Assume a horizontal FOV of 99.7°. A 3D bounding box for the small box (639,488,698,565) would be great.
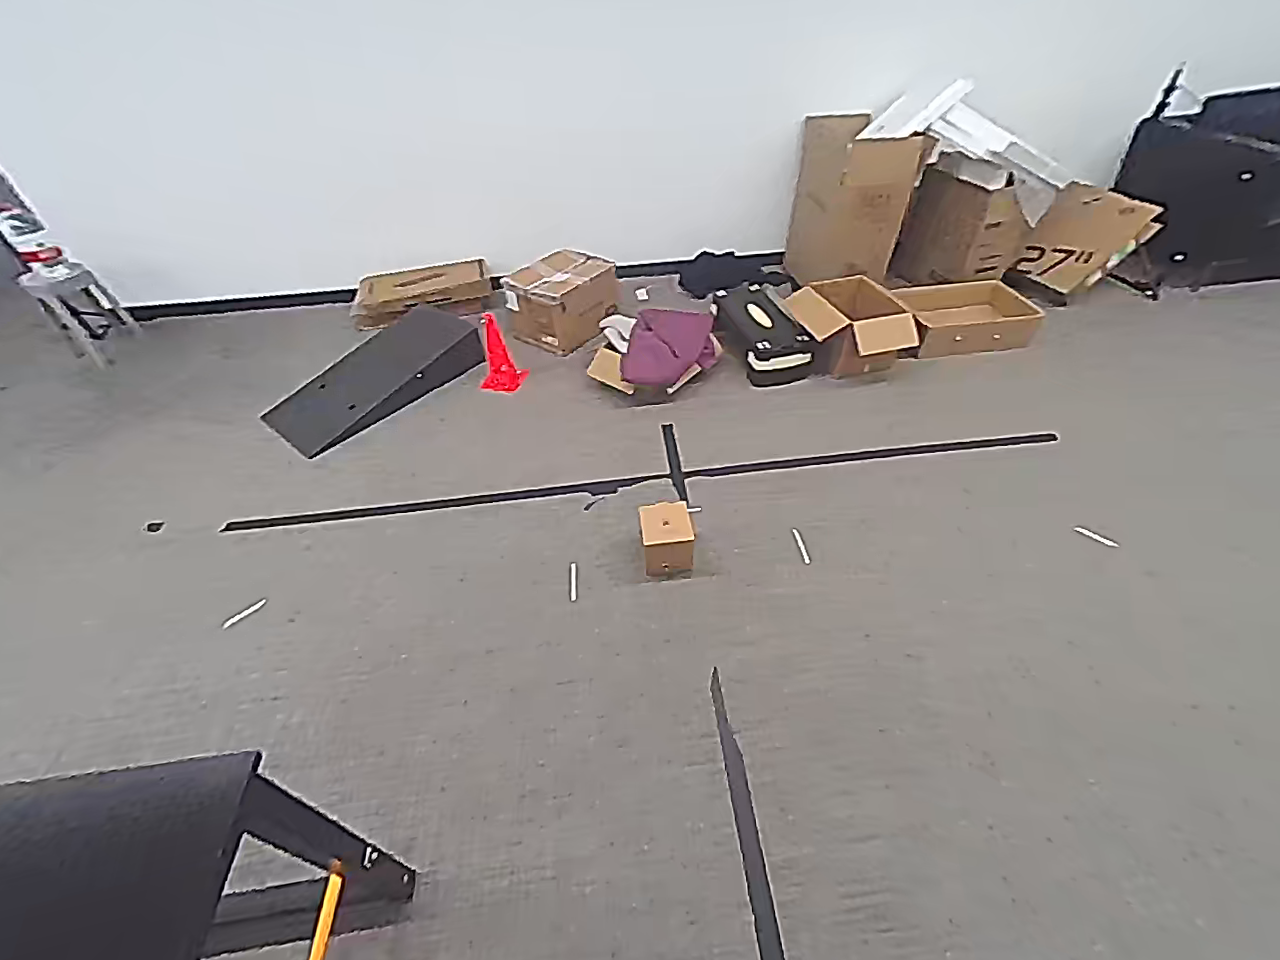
[{"bbox_3d":[0.089,0.151,1.761,0.168,0.176,0.179,-7,46,-3],"label":"small box"}]
